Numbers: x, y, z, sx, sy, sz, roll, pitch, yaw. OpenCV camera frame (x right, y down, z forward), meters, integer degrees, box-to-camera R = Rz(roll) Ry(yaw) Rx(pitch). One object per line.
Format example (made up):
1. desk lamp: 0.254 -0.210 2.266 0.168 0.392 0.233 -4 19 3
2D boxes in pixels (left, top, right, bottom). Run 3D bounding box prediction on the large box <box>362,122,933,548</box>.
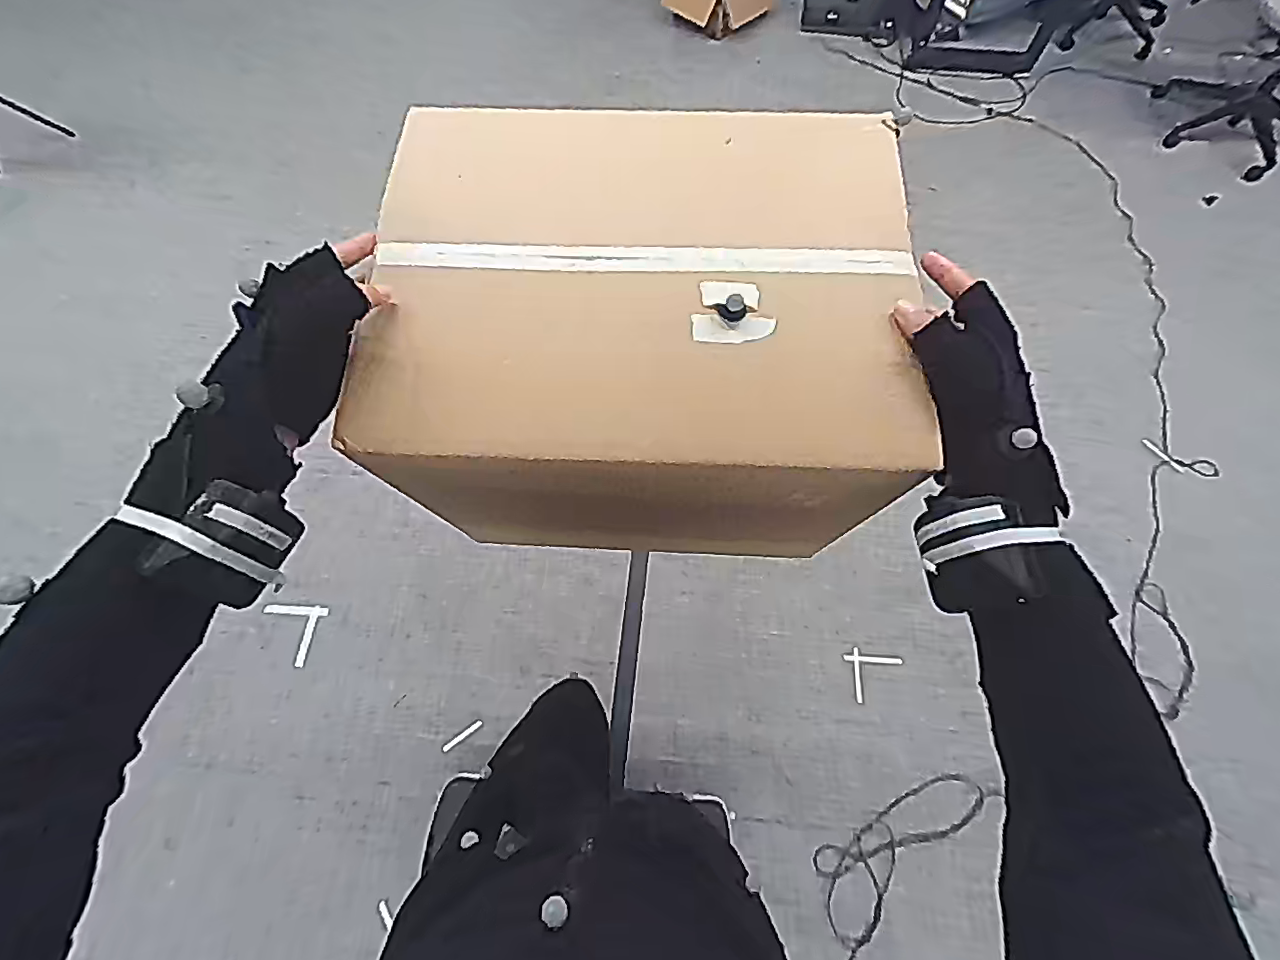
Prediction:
1. large box: 0.008 -0.114 0.559 0.408 0.320 0.320 2 72 1
